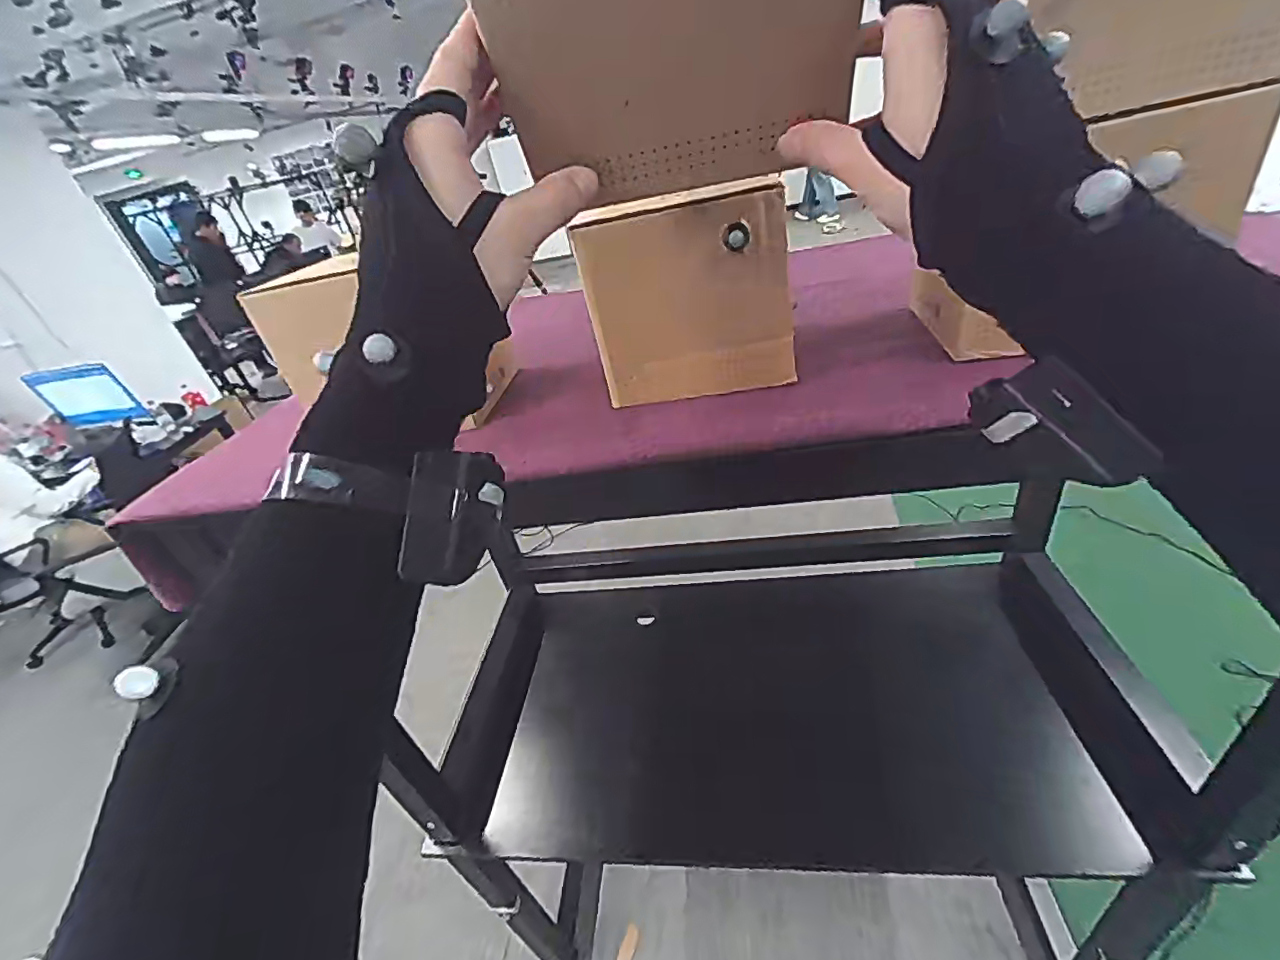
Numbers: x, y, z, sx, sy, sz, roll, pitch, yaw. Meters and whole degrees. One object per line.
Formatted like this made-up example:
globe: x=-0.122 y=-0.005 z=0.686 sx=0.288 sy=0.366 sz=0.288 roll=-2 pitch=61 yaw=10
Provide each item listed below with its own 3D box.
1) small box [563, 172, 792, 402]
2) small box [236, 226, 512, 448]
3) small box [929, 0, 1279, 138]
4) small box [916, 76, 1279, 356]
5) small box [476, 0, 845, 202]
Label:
small box: x=0.046 y=-0.187 z=0.527 sx=0.179 sy=0.176 sz=0.168 roll=-6 pitch=33 yaw=11
small box: x=-0.258 y=-0.152 z=0.579 sx=0.179 sy=0.176 sz=0.168 roll=-8 pitch=33 yaw=10
small box: x=0.311 y=-0.350 z=0.371 sx=0.179 sy=0.176 sz=0.168 roll=-6 pitch=34 yaw=15
small box: x=0.344 y=-0.216 z=0.458 sx=0.179 sy=0.176 sz=0.168 roll=-4 pitch=34 yaw=15
small box: x=0.008 y=-0.278 z=0.288 sx=0.179 sy=0.176 sz=0.168 roll=-7 pitch=60 yaw=9
